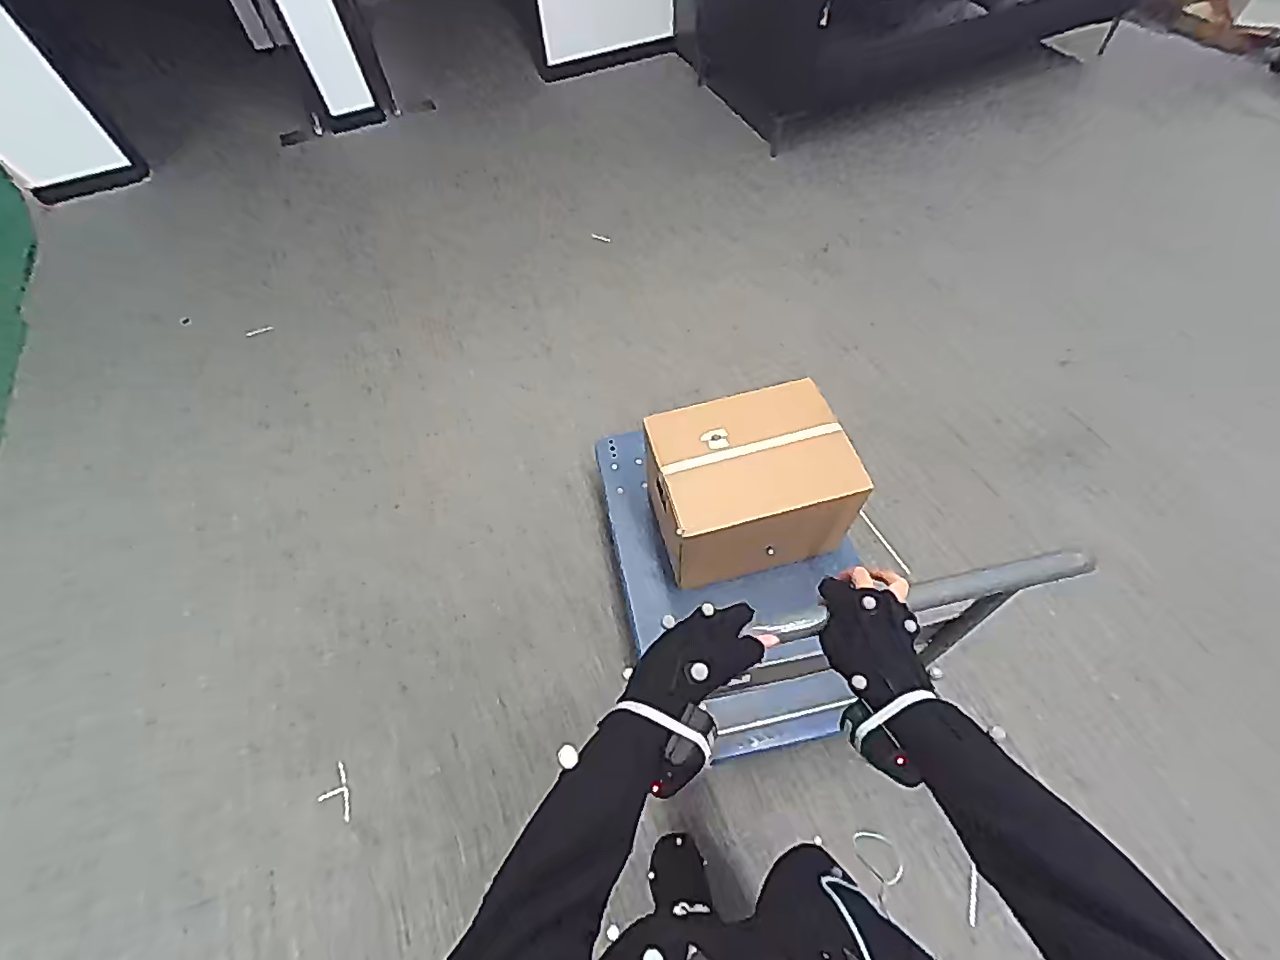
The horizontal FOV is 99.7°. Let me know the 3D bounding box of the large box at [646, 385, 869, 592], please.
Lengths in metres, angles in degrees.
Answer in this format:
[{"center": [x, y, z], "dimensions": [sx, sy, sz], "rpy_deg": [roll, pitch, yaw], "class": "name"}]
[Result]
[{"center": [0.250, 0.029, 1.285], "dimensions": [0.408, 0.320, 0.320], "rpy_deg": [-14, 58, -5], "class": "large box"}]
